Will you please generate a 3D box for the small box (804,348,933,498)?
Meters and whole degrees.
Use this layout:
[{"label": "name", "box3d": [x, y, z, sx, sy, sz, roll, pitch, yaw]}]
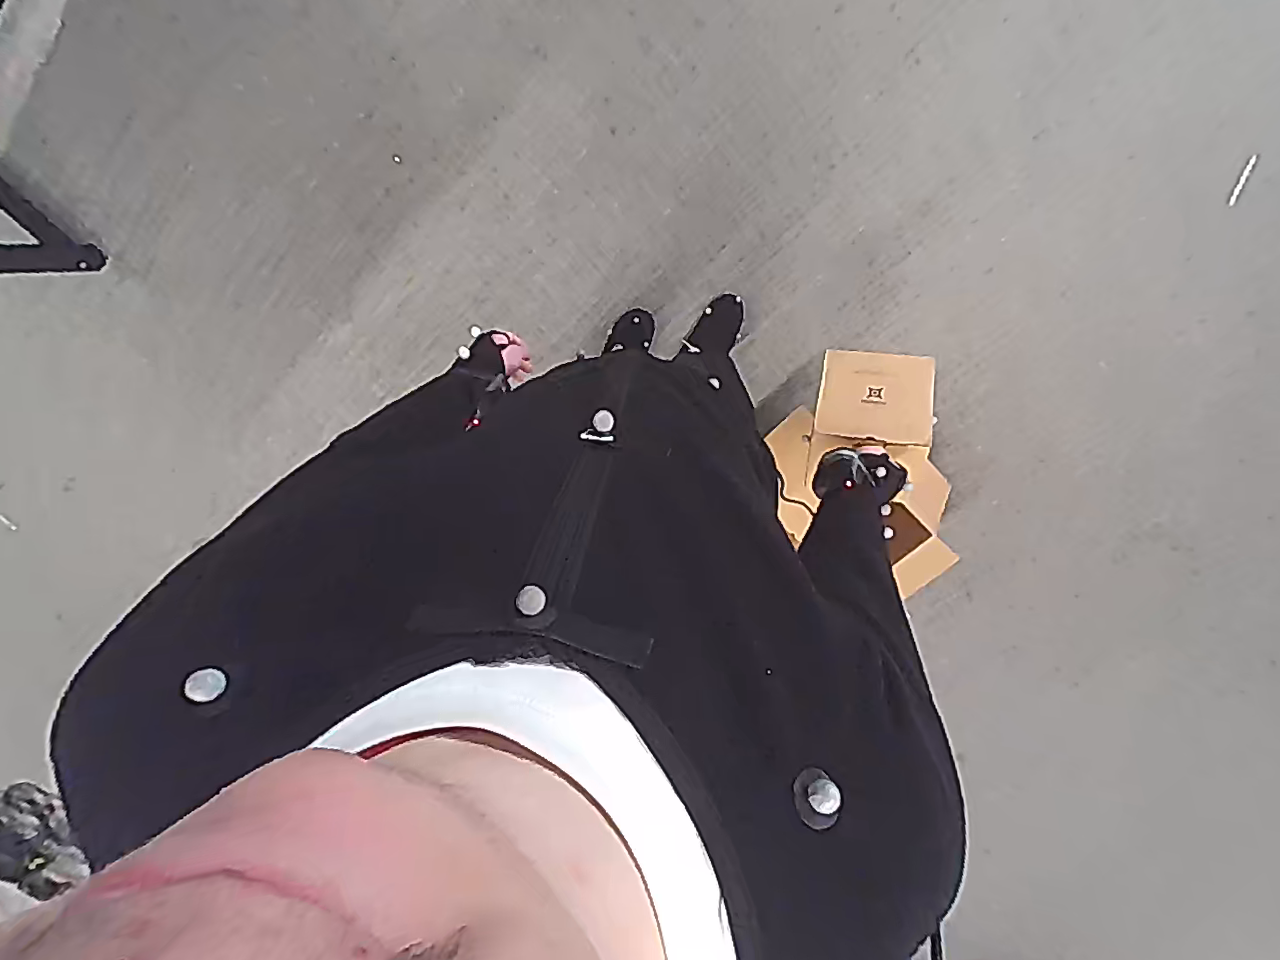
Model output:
[{"label": "small box", "box3d": [0.370, -0.090, 0.893, 0.168, 0.179, 0.176, 9, 151, 17]}]
